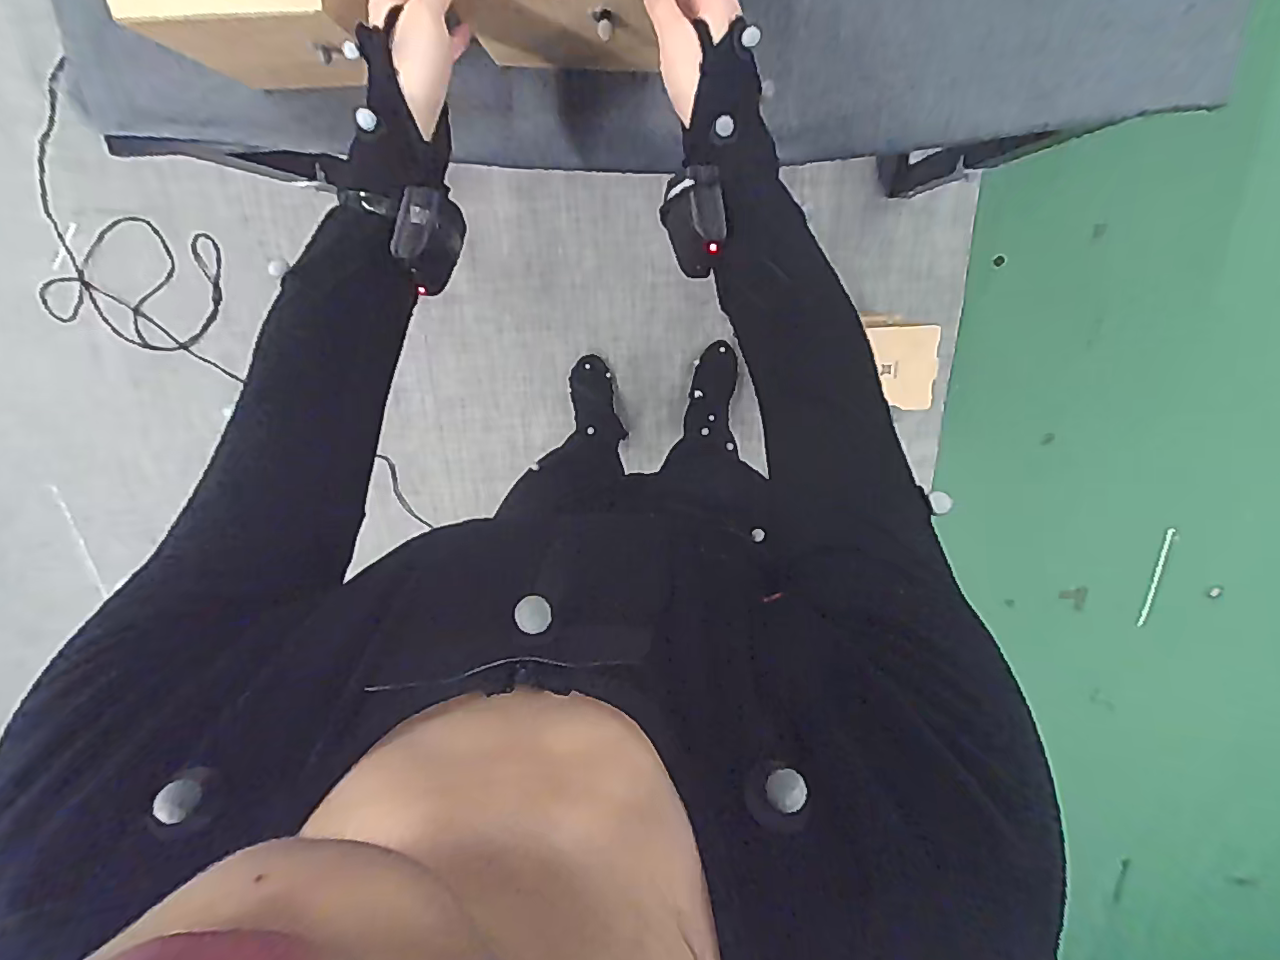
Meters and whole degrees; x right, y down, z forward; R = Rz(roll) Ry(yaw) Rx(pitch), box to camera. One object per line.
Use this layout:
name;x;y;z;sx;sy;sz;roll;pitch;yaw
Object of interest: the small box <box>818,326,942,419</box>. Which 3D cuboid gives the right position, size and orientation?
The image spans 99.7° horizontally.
small box;0.487;-0.228;1.124;0.179;0.176;0.168;0;111;3
